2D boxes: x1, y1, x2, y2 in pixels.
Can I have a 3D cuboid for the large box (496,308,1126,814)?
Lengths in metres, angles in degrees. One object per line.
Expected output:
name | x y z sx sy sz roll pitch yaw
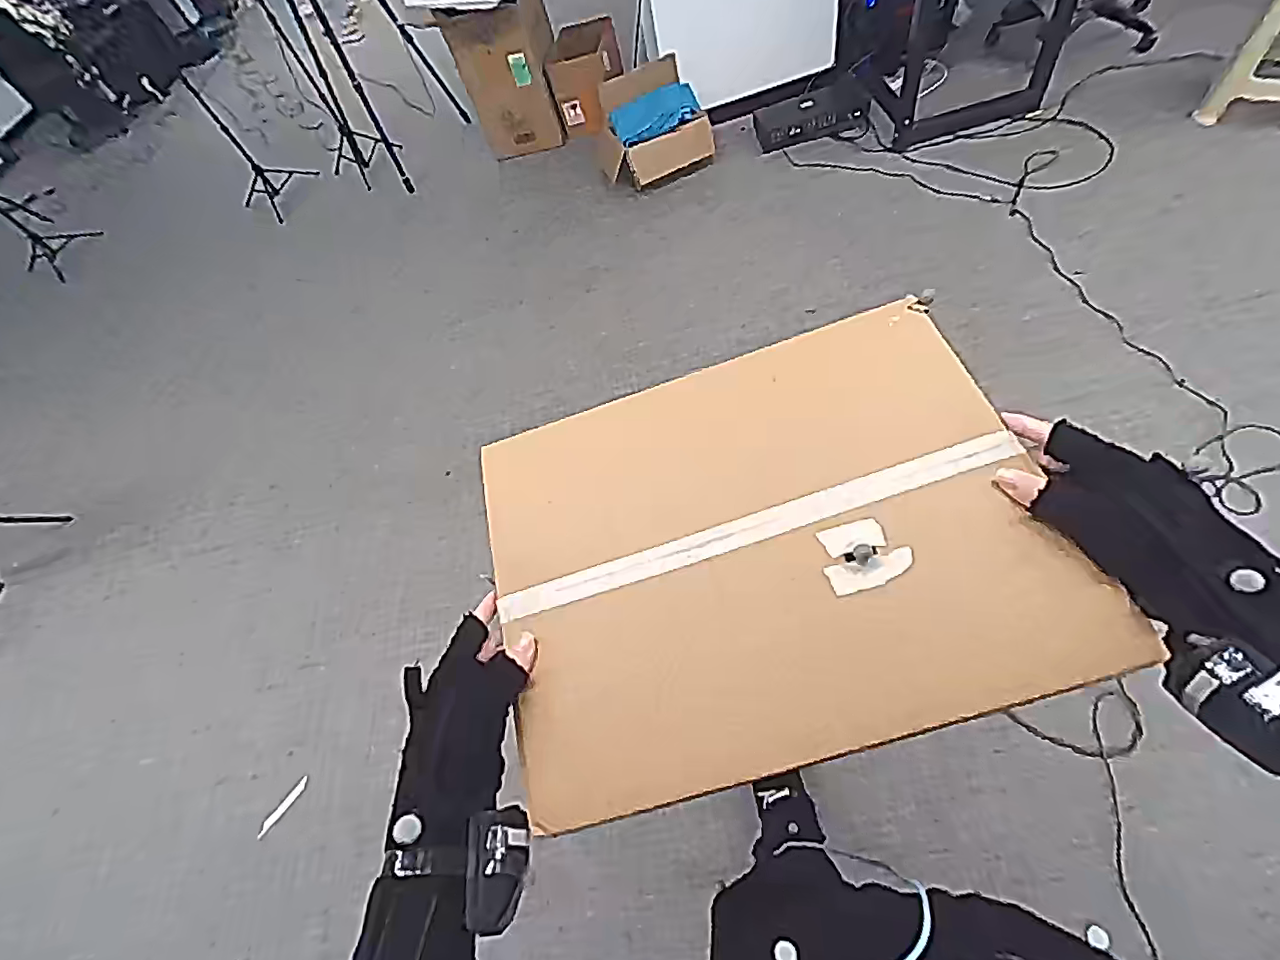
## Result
large box | 0.117 0.102 0.556 0.408 0.320 0.320 -19 62 4
